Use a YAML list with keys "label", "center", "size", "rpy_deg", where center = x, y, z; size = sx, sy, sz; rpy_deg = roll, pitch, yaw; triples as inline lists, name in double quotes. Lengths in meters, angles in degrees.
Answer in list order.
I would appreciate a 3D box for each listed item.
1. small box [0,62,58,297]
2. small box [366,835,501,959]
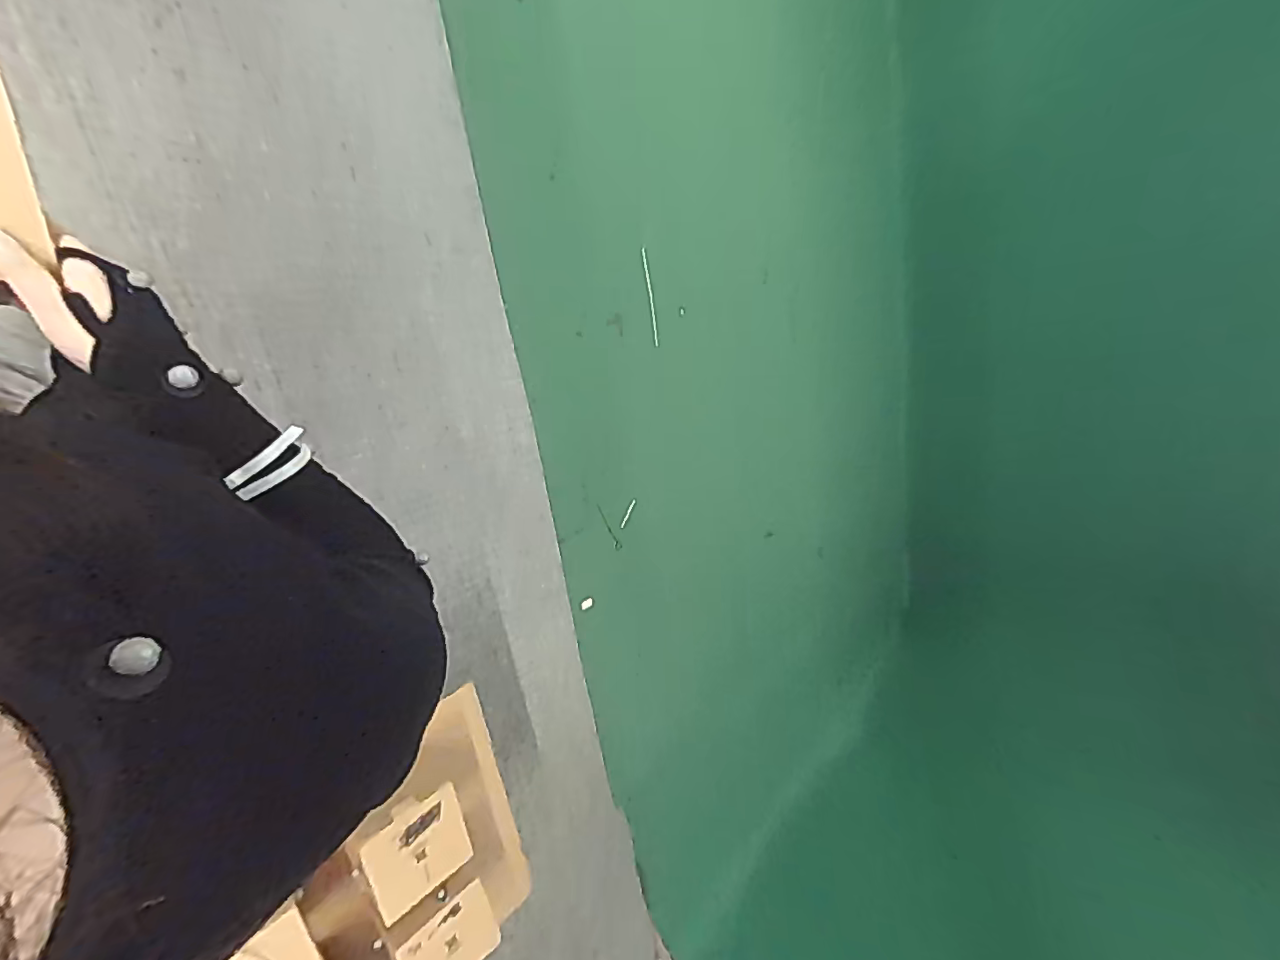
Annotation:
- label: "small box"
  center: [-0.495, -0.202, 0.316]
  size: [0.179, 0.176, 0.168]
  rpy_deg: [-20, 112, -49]
- label: "small box"
  center: [-0.399, 0.846, 1.049]
  size: [0.168, 0.176, 0.179]
  rpy_deg: [-26, 114, -41]
